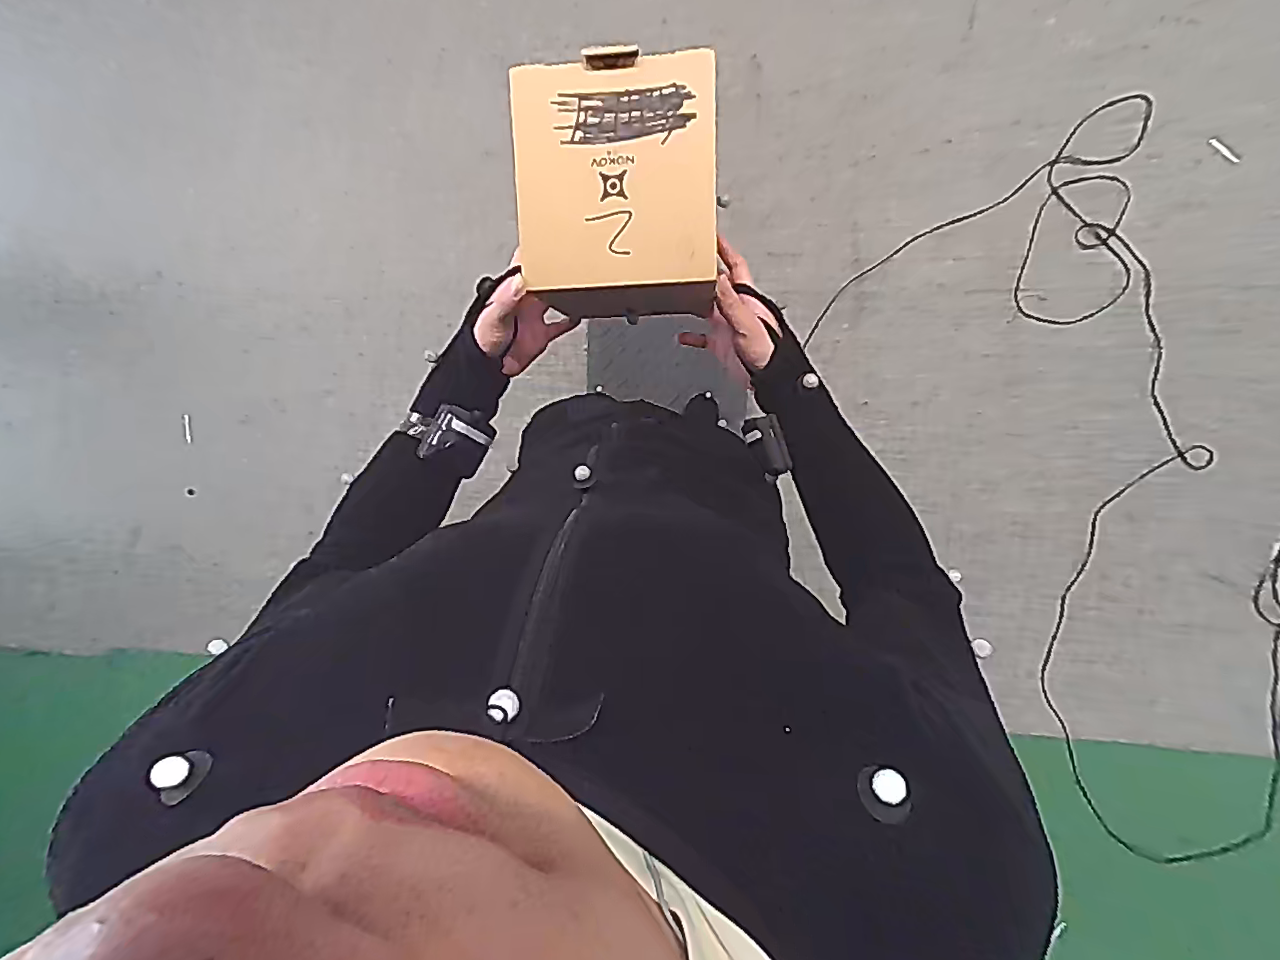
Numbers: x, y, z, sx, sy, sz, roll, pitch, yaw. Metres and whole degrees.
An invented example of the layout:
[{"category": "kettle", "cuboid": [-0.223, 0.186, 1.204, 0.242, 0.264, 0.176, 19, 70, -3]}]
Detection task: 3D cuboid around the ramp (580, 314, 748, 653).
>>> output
[{"category": "ramp", "cuboid": [0.067, 0.003, 1.621, 0.509, 0.206, 0.991, 0, 98, 10]}]
